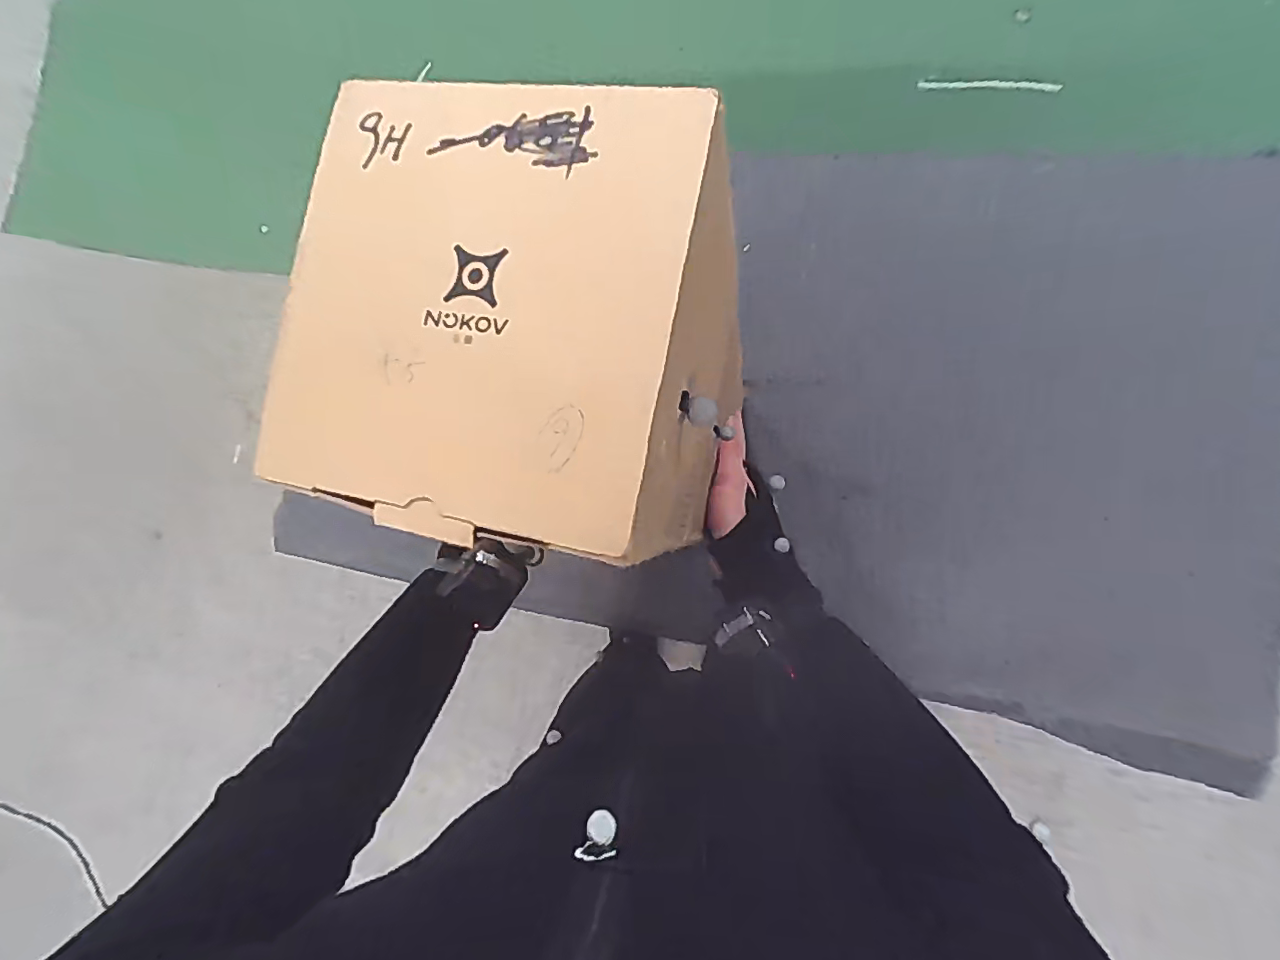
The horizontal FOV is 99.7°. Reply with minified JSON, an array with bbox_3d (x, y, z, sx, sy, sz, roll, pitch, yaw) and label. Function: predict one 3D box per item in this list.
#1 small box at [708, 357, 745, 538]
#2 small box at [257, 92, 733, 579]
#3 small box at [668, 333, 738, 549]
[{"bbox_3d":[0.024,-0.035,0.602,0.168,0.176,0.179,7,88,14],"label":"small box"},{"bbox_3d":[-0.048,-0.059,0.285,0.168,0.176,0.179,11,88,13],"label":"small box"},{"bbox_3d":[-0.014,-0.045,0.445,0.168,0.176,0.179,8,86,13],"label":"small box"}]
